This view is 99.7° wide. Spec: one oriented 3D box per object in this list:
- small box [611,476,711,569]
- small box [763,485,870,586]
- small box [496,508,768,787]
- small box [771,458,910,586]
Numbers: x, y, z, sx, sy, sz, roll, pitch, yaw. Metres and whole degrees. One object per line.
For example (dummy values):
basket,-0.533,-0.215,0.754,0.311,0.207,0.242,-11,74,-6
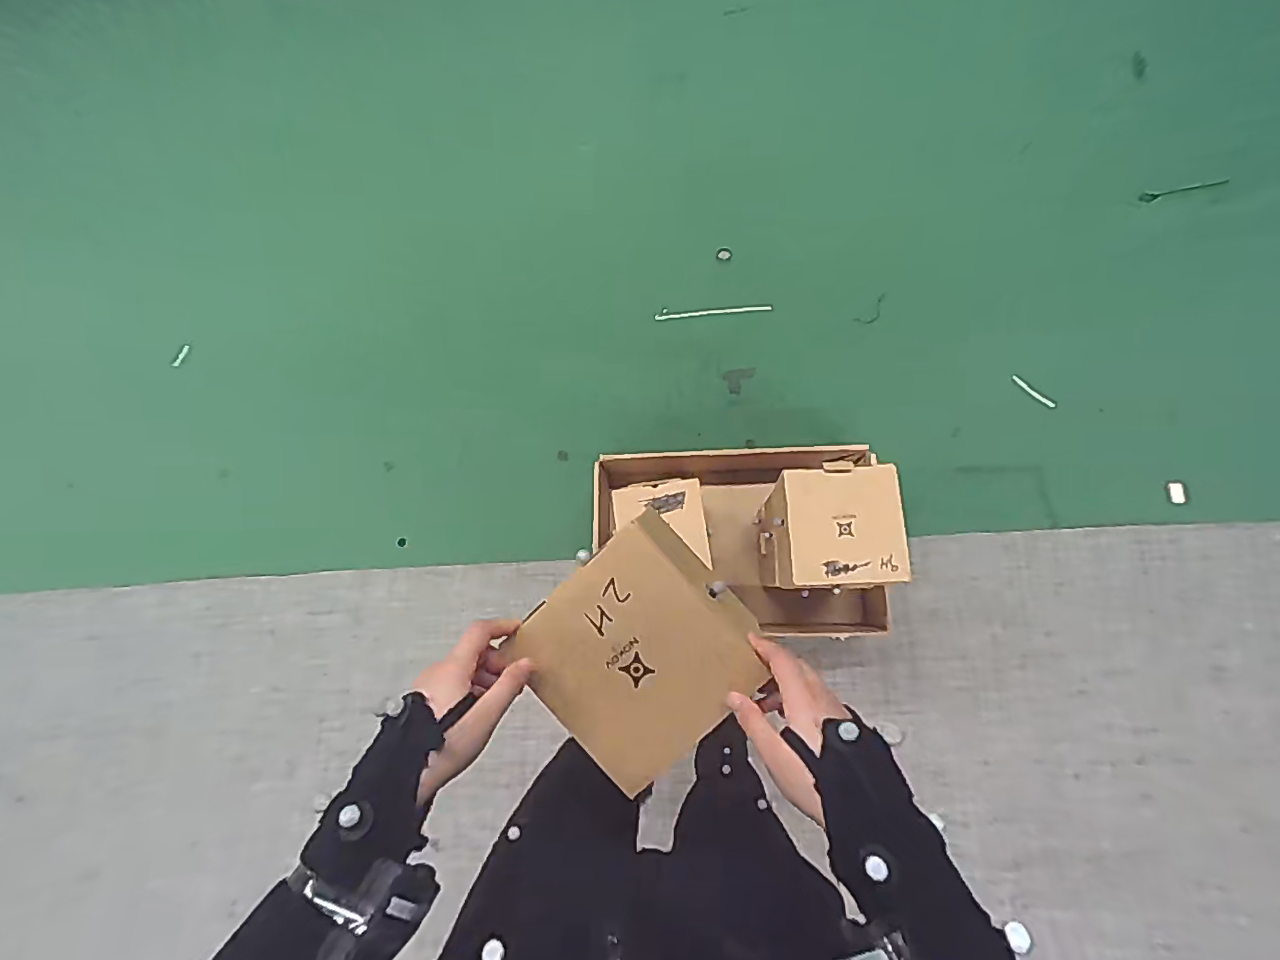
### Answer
small box,0.042,0.102,1.057,0.168,0.176,0.179,-8,79,4
small box,0.326,0.109,1.024,0.168,0.176,0.179,-1,79,8
small box,0.000,0.143,0.533,0.168,0.176,0.179,-43,86,5
small box,0.306,0.075,0.864,0.168,0.176,0.179,-4,76,7
